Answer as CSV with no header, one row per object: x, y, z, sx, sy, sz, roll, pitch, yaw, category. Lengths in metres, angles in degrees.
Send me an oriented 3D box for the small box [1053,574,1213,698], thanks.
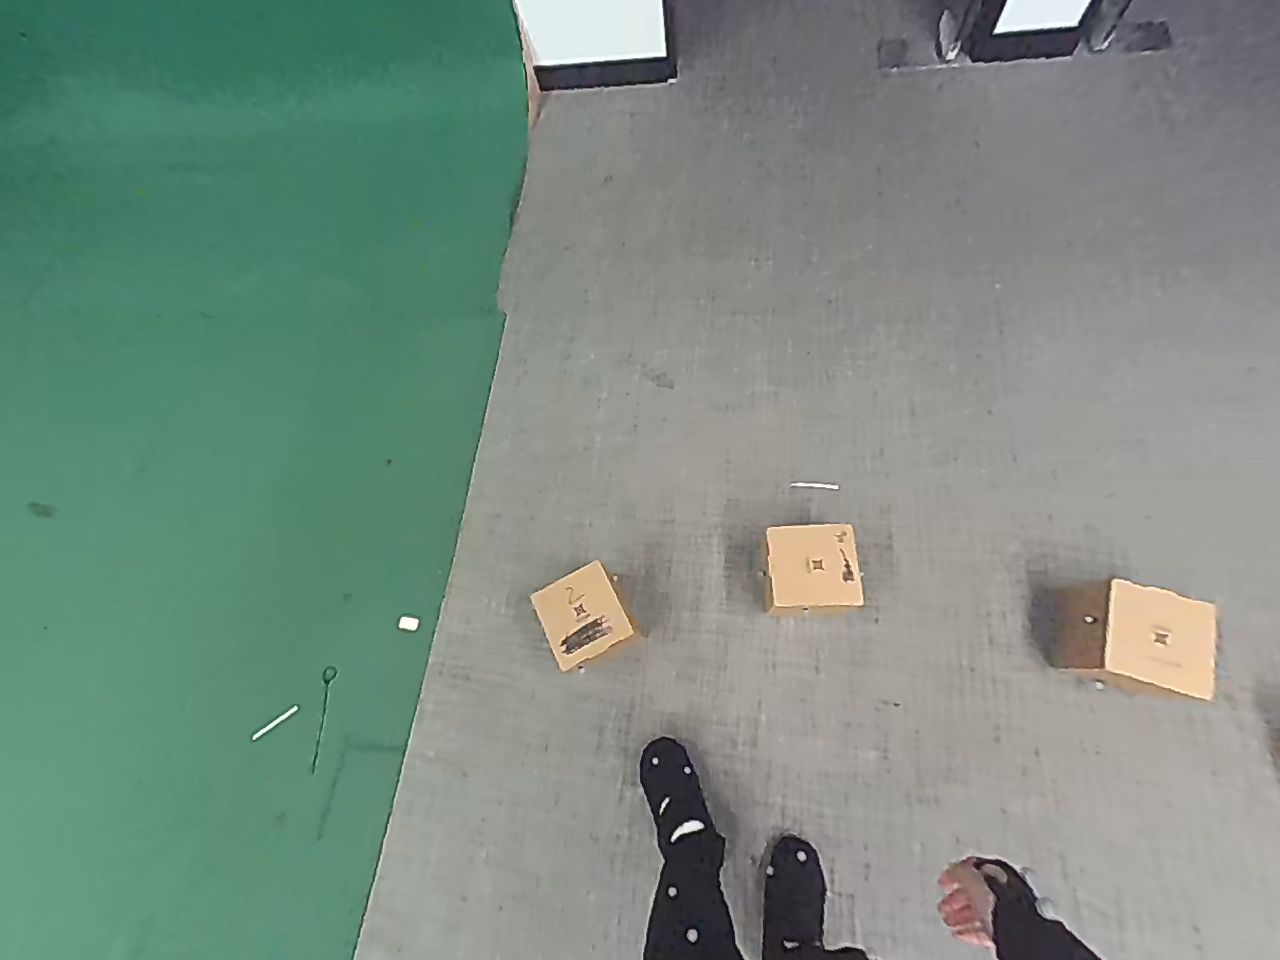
0.936,0.302,1.042,0.168,0.176,0.179,16,73,14,small box

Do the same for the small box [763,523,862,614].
0.358,0.196,1.161,0.179,0.176,0.168,-3,70,8,small box
